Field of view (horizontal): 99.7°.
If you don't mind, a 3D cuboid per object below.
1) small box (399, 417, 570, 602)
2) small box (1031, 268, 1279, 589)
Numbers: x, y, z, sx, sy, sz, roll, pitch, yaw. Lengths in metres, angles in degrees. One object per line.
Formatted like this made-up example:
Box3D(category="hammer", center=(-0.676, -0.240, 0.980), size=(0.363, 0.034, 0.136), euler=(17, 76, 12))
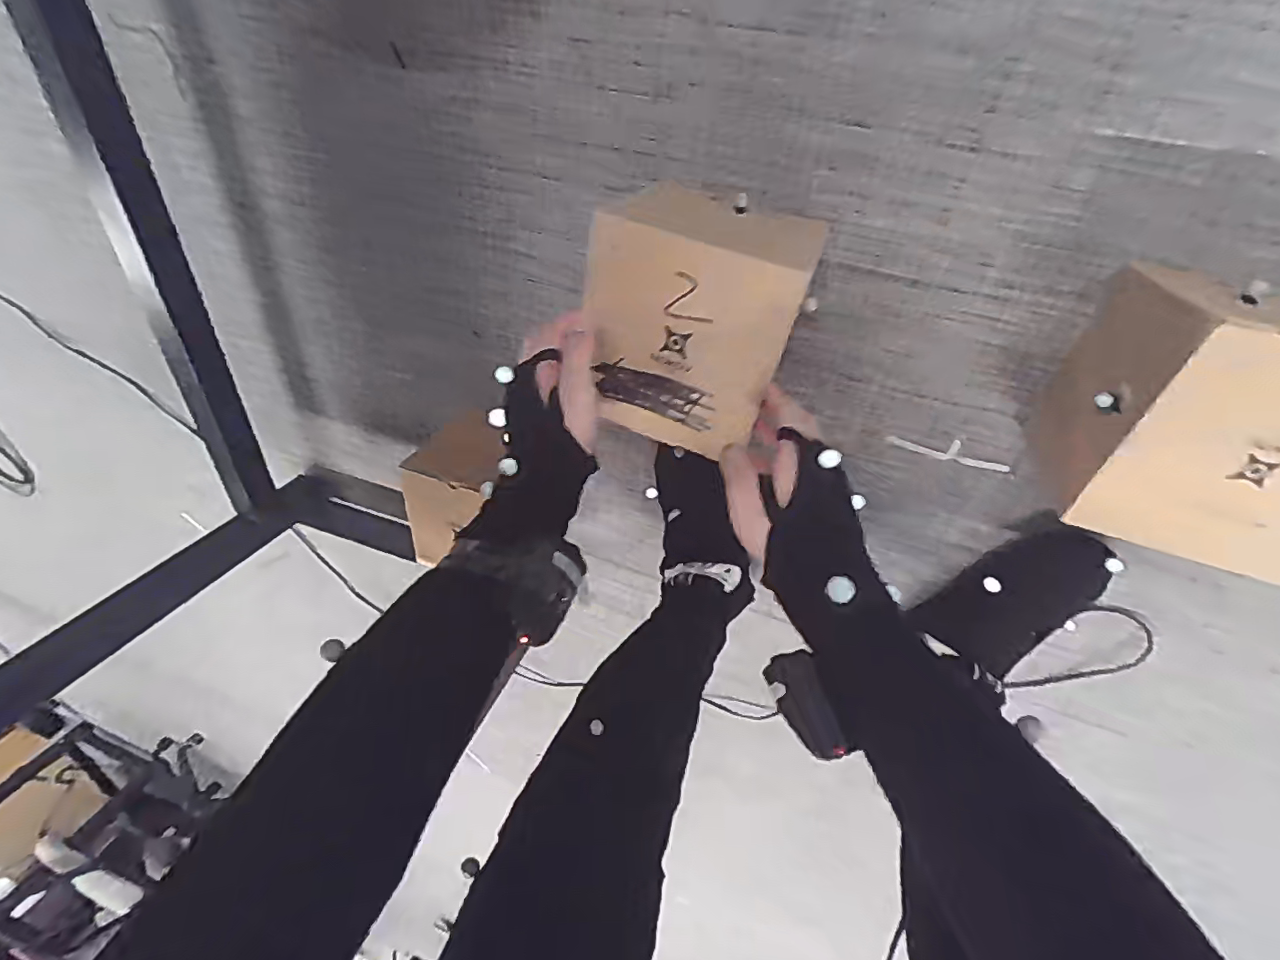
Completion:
Box3D(category="small box", center=(-0.209, 0.036, 0.776), size=(0.168, 0.176, 0.179), euler=(16, 126, 14))
Box3D(category="small box", center=(0.452, -0.051, 0.430), size=(0.168, 0.176, 0.179), euler=(19, 128, 12))
